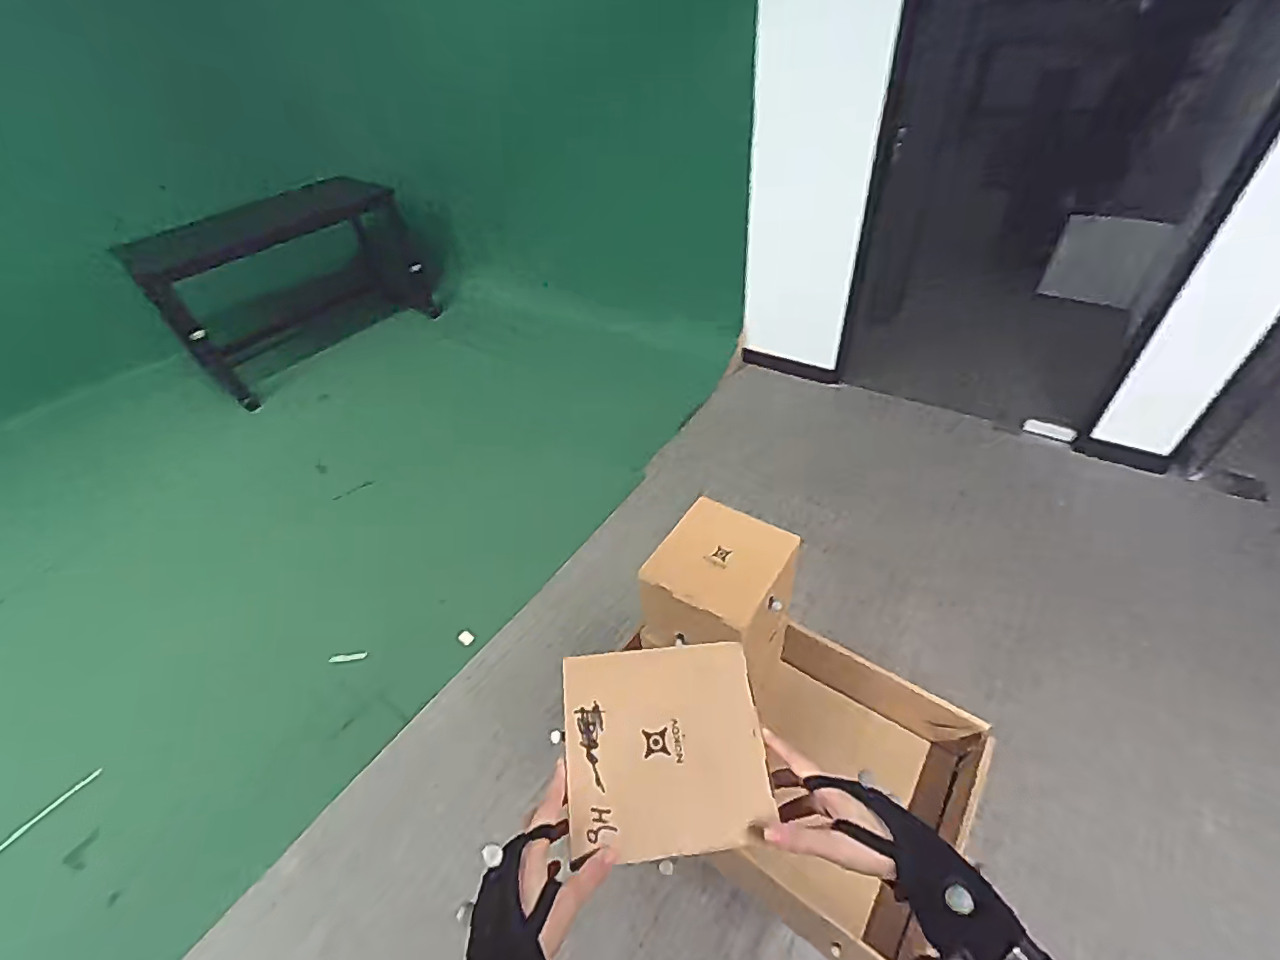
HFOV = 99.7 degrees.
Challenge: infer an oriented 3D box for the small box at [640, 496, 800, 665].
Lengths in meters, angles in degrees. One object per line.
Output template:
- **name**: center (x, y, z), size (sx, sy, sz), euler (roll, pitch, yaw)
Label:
- **small box**: center (0.118, 0.161, 0.807), size (0.168, 0.176, 0.179), euler (23, 52, 28)

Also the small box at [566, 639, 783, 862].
- **small box**: center (0.017, 0.268, 0.535), size (0.179, 0.176, 0.168), euler (-3, 55, -6)
